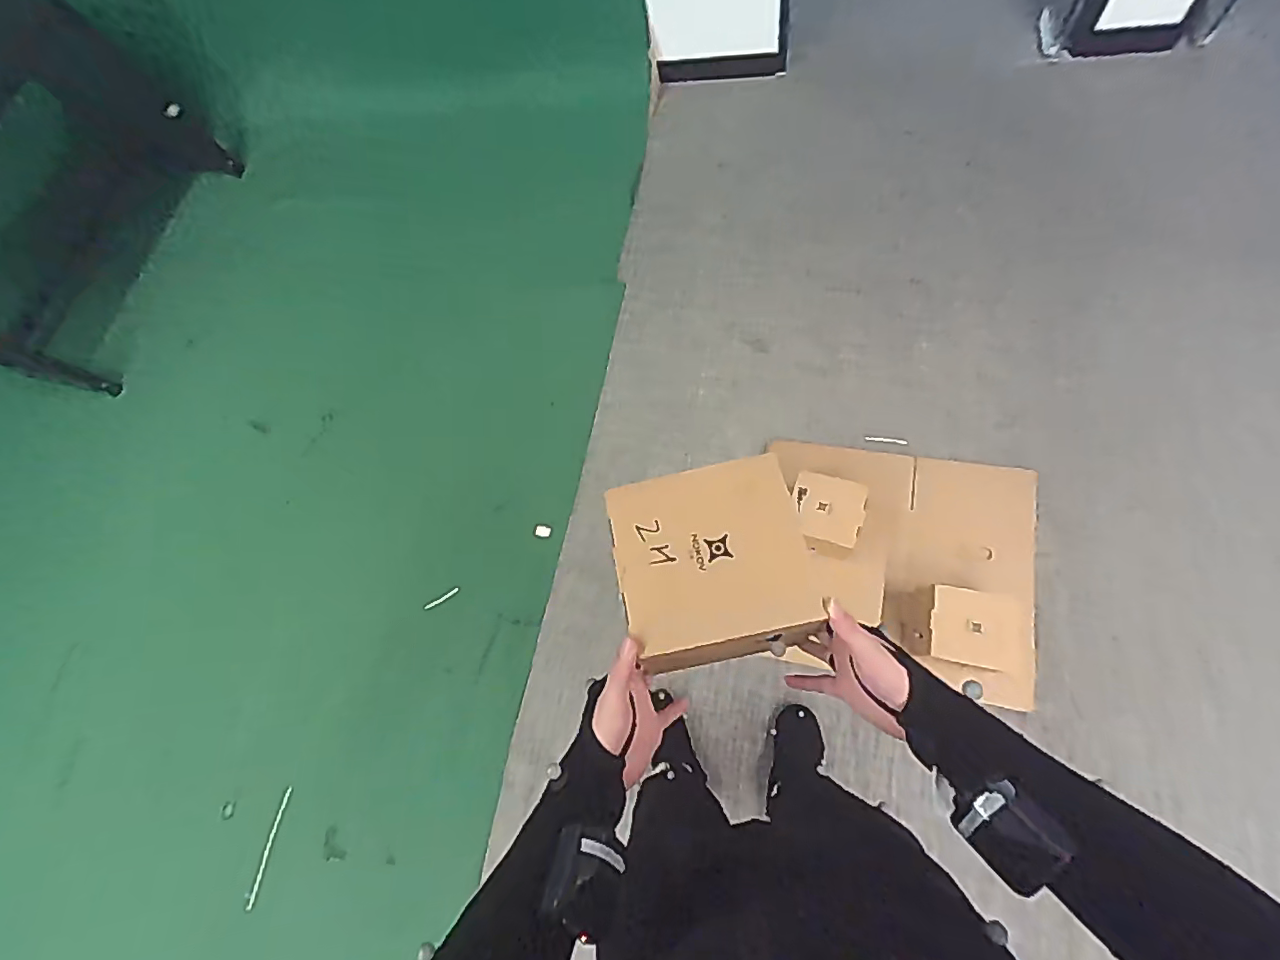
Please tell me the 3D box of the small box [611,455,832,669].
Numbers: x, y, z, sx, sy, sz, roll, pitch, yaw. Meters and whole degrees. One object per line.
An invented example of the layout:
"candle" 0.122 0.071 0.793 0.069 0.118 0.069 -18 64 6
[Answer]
"small box" 0.076 0.096 0.570 0.179 0.176 0.168 -12 65 2

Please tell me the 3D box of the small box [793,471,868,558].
"small box" 0.474 0.097 1.416 0.179 0.176 0.168 17 76 16

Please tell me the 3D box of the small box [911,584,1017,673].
"small box" 0.756 0.352 1.277 0.179 0.176 0.168 9 75 15
